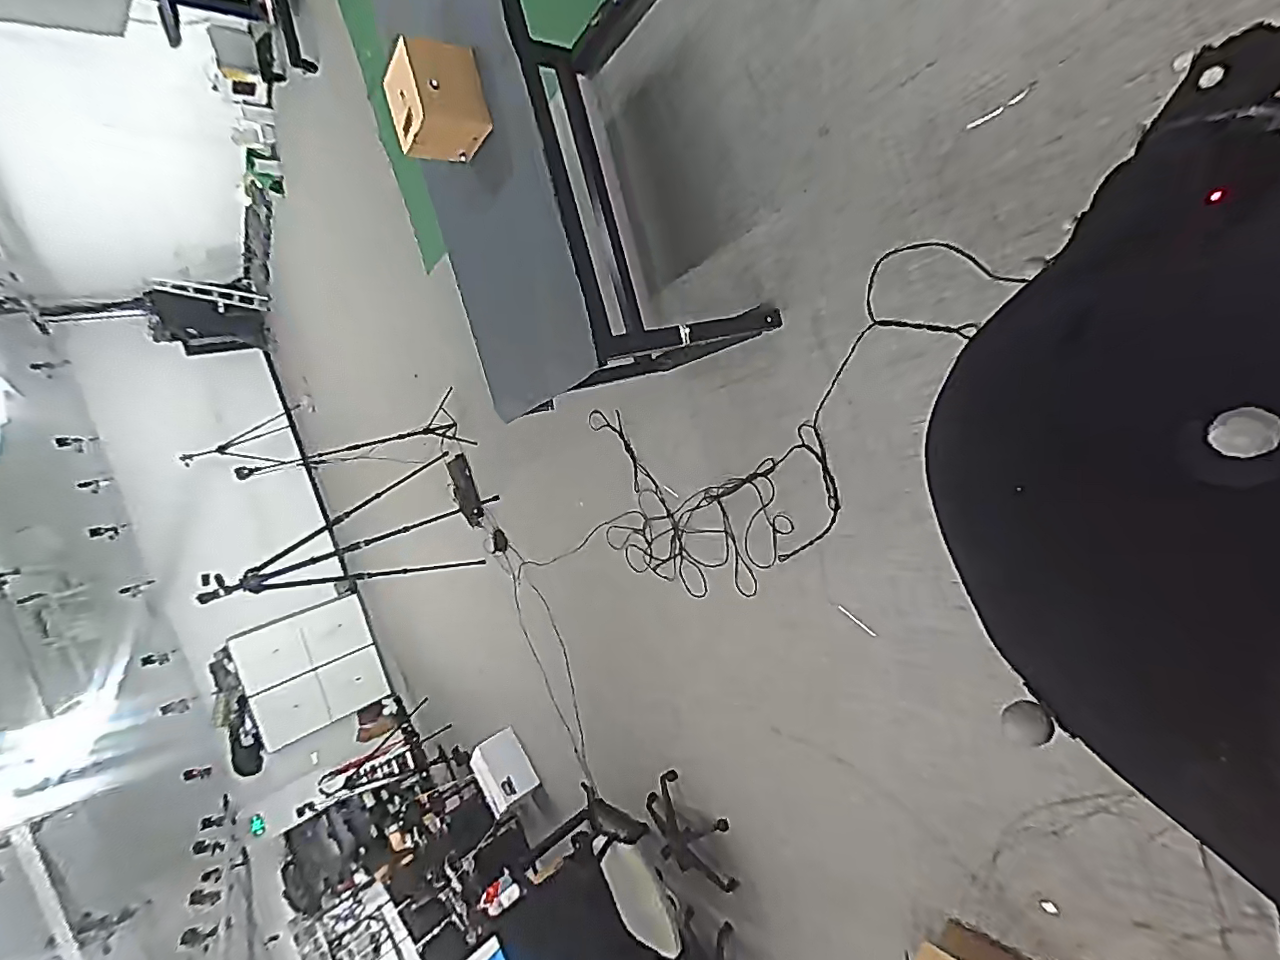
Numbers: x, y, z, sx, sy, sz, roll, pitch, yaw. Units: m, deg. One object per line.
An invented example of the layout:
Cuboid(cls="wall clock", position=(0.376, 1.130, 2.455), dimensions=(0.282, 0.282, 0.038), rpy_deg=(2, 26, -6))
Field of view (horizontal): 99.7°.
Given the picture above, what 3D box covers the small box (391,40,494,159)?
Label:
Cuboid(cls="small box", position=(-0.472, -0.900, 1.301), dimensions=(0.168, 0.176, 0.179), rpy_deg=(-7, 100, 52))
